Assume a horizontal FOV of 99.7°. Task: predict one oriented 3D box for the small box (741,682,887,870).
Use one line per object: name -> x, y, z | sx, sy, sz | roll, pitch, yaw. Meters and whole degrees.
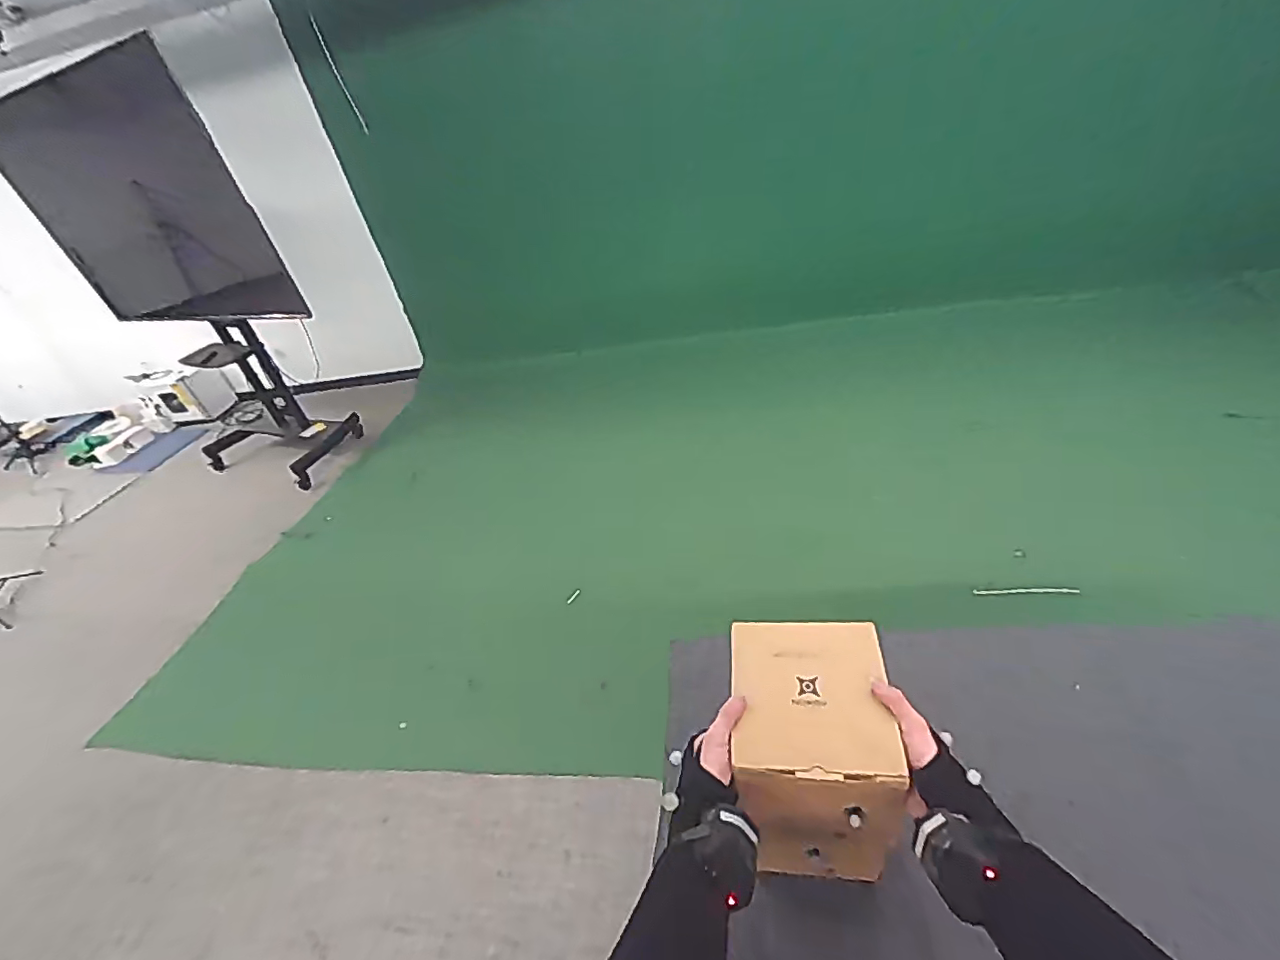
small box -> 0.226, 0.401, 0.737 | 0.168, 0.176, 0.179 | -3, 37, 11
